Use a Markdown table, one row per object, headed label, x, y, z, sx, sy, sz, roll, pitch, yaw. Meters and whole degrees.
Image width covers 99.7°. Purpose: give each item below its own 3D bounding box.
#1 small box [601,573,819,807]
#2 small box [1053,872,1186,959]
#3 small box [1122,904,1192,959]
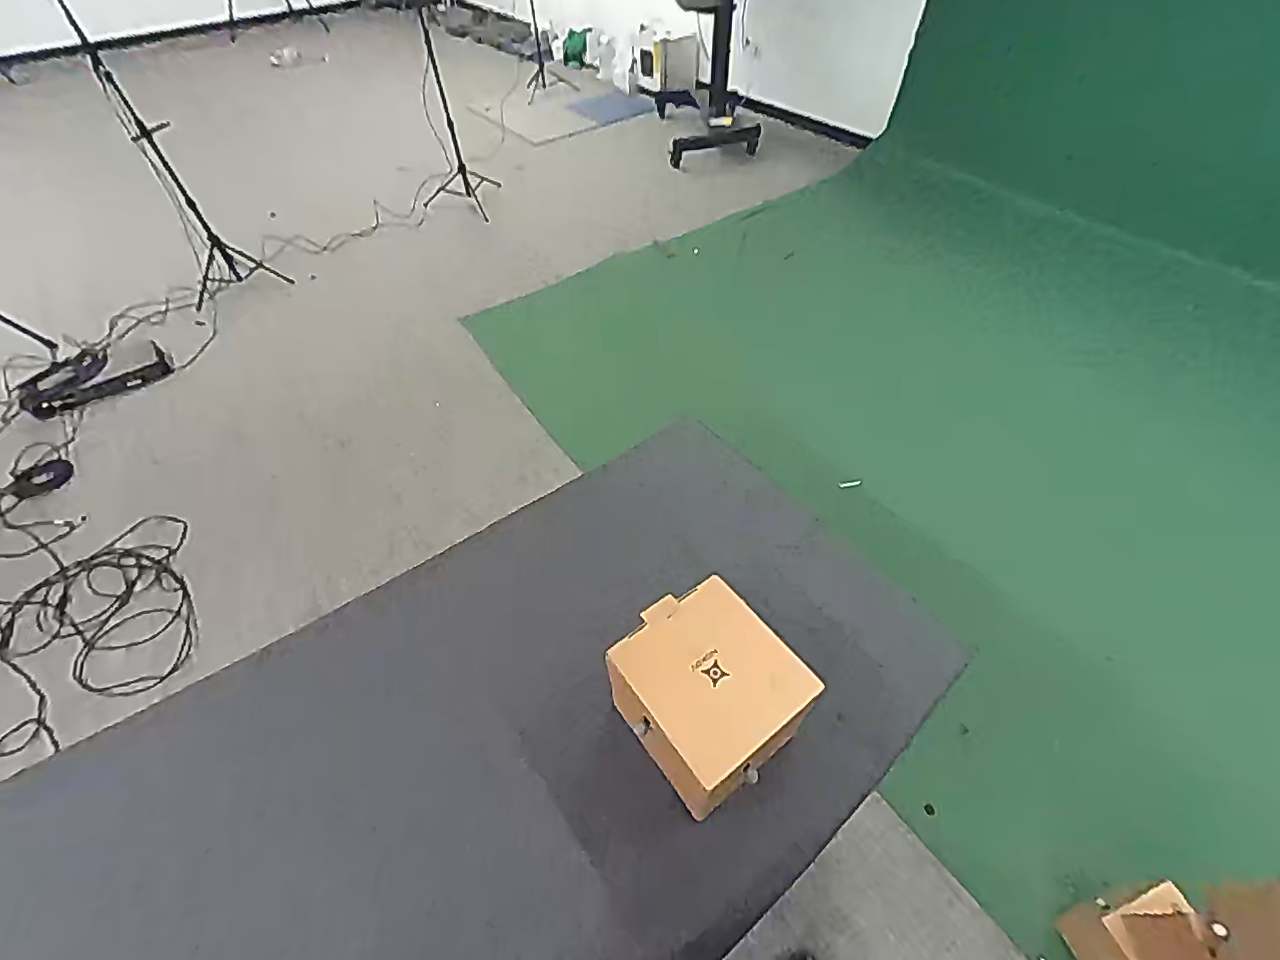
| label | x | y | z | sx | sy | sz | roll | pitch | yaw |
| --- | --- | --- | --- | --- | --- | --- | --- | --- | --- |
| small box | 0.075 | 0.250 | 0.634 | 0.168 | 0.176 | 0.179 | -31 | 55 | -21 |
| small box | 0.947 | 0.886 | 1.036 | 0.179 | 0.176 | 0.168 | -17 | 54 | -12 |
| small box | 0.958 | 0.808 | 0.891 | 0.179 | 0.176 | 0.168 | 0 | 53 | 1 |
